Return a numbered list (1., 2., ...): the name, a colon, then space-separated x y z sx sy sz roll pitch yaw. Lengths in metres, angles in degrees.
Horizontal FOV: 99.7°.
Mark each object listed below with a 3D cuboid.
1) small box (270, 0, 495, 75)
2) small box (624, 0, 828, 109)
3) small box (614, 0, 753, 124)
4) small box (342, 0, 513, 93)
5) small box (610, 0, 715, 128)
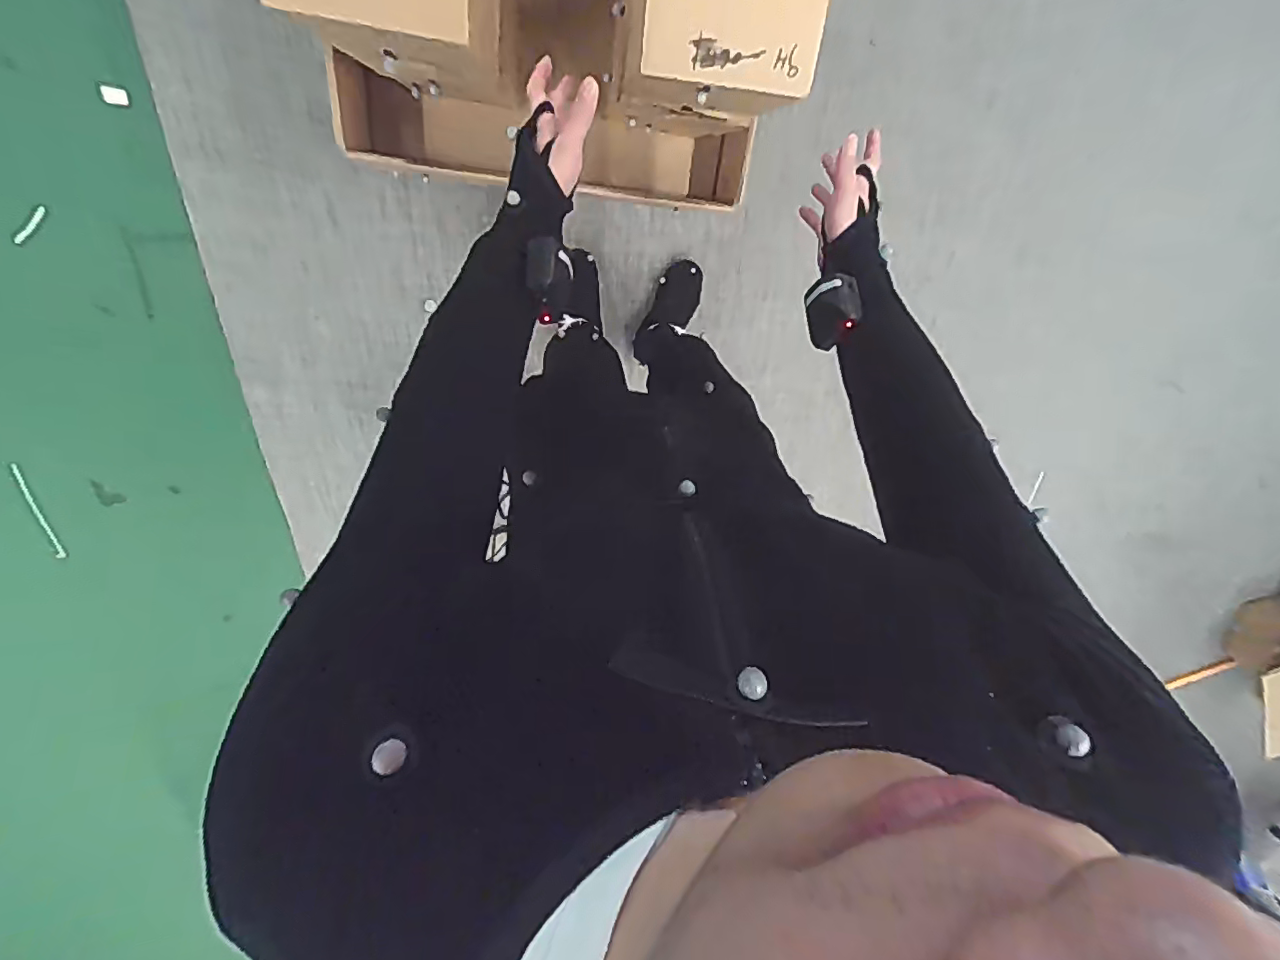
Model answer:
1. small box: -0.224 -0.496 0.482 0.168 0.176 0.179 5 118 -8
2. small box: 0.078 -0.483 0.525 0.168 0.176 0.179 2 119 -9
3. small box: 0.061 -0.559 0.669 0.168 0.176 0.179 4 119 -10
4. small box: -0.241 -0.576 0.623 0.168 0.176 0.179 5 118 -9
5. small box: 0.047 -0.645 0.808 0.168 0.176 0.179 3 120 -9
